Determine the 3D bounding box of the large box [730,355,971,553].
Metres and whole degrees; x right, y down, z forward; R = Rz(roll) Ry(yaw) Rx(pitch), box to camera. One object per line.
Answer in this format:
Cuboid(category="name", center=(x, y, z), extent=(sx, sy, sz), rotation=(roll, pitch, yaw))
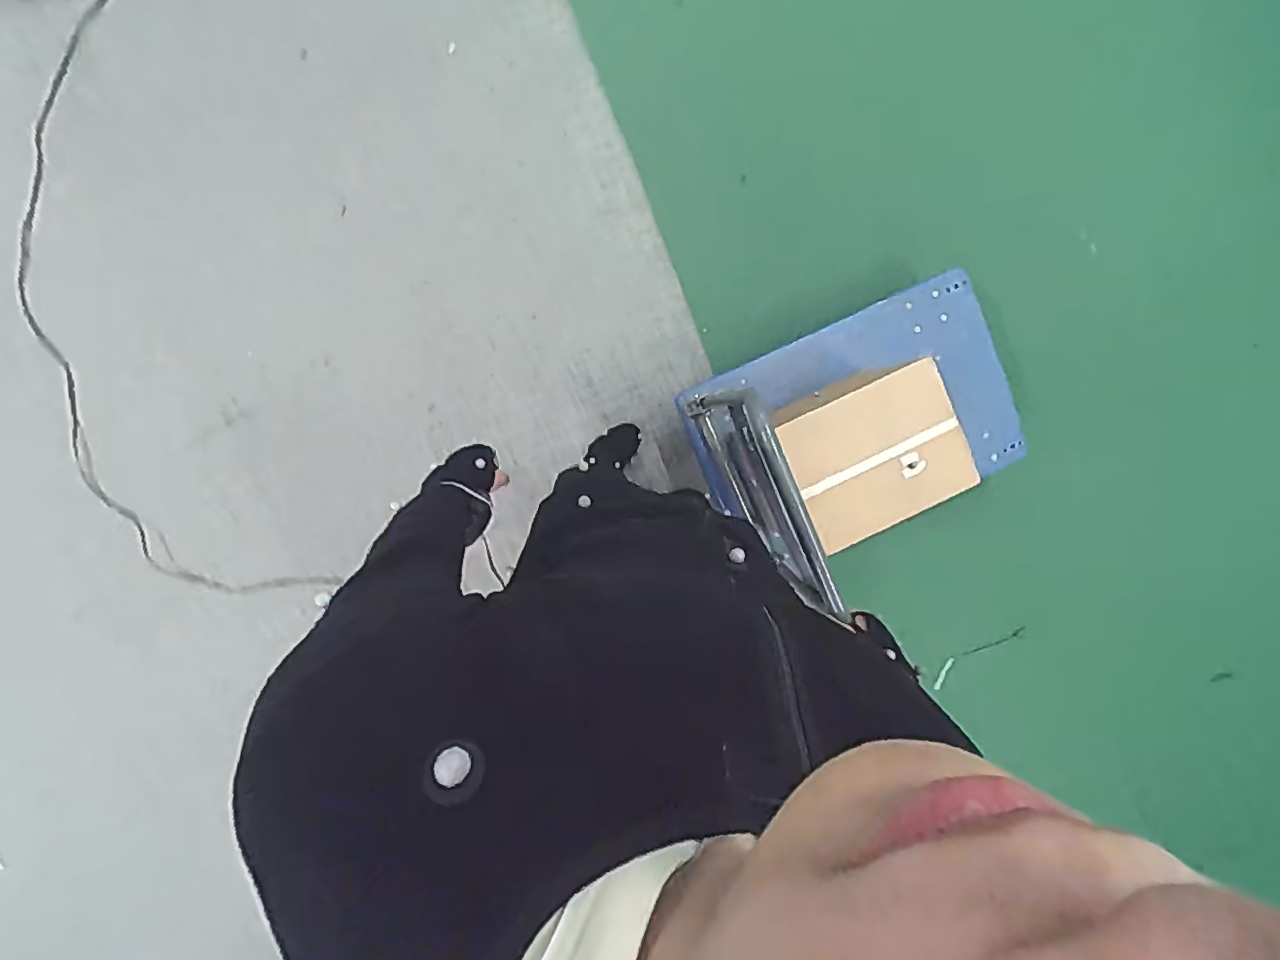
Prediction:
Cuboid(category="large box", center=(0.495, -0.065, 1.342), extent=(0.408, 0.320, 0.320), rotation=(-25, 97, -3))
